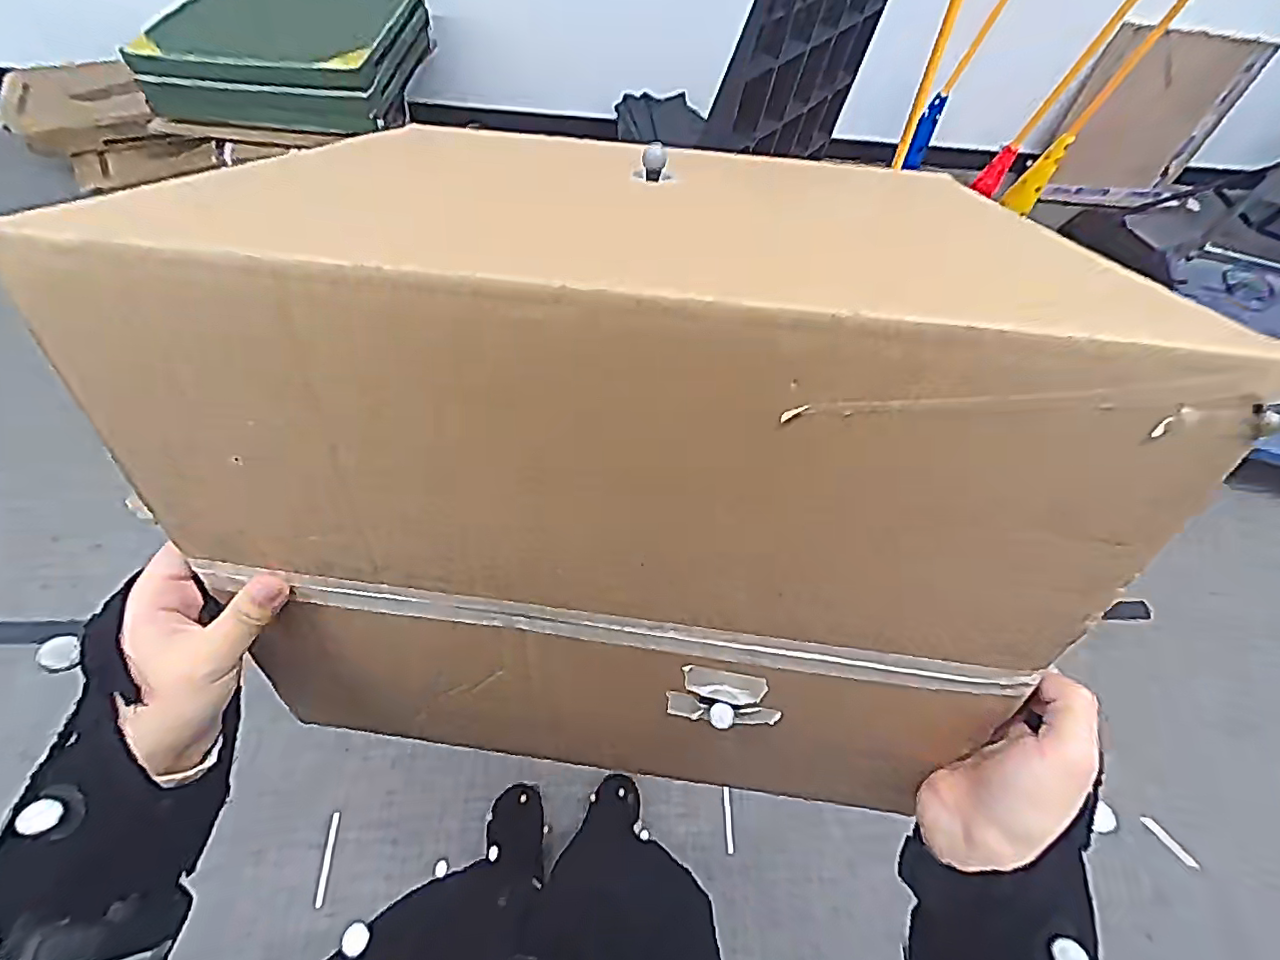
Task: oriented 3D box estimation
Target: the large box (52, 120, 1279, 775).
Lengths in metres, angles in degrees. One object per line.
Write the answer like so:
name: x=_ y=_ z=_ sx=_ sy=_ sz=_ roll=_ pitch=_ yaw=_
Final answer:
large box: x=0.009 y=-0.047 z=0.372 sx=0.408 sy=0.320 sz=0.320 roll=6 pitch=39 yaw=3
